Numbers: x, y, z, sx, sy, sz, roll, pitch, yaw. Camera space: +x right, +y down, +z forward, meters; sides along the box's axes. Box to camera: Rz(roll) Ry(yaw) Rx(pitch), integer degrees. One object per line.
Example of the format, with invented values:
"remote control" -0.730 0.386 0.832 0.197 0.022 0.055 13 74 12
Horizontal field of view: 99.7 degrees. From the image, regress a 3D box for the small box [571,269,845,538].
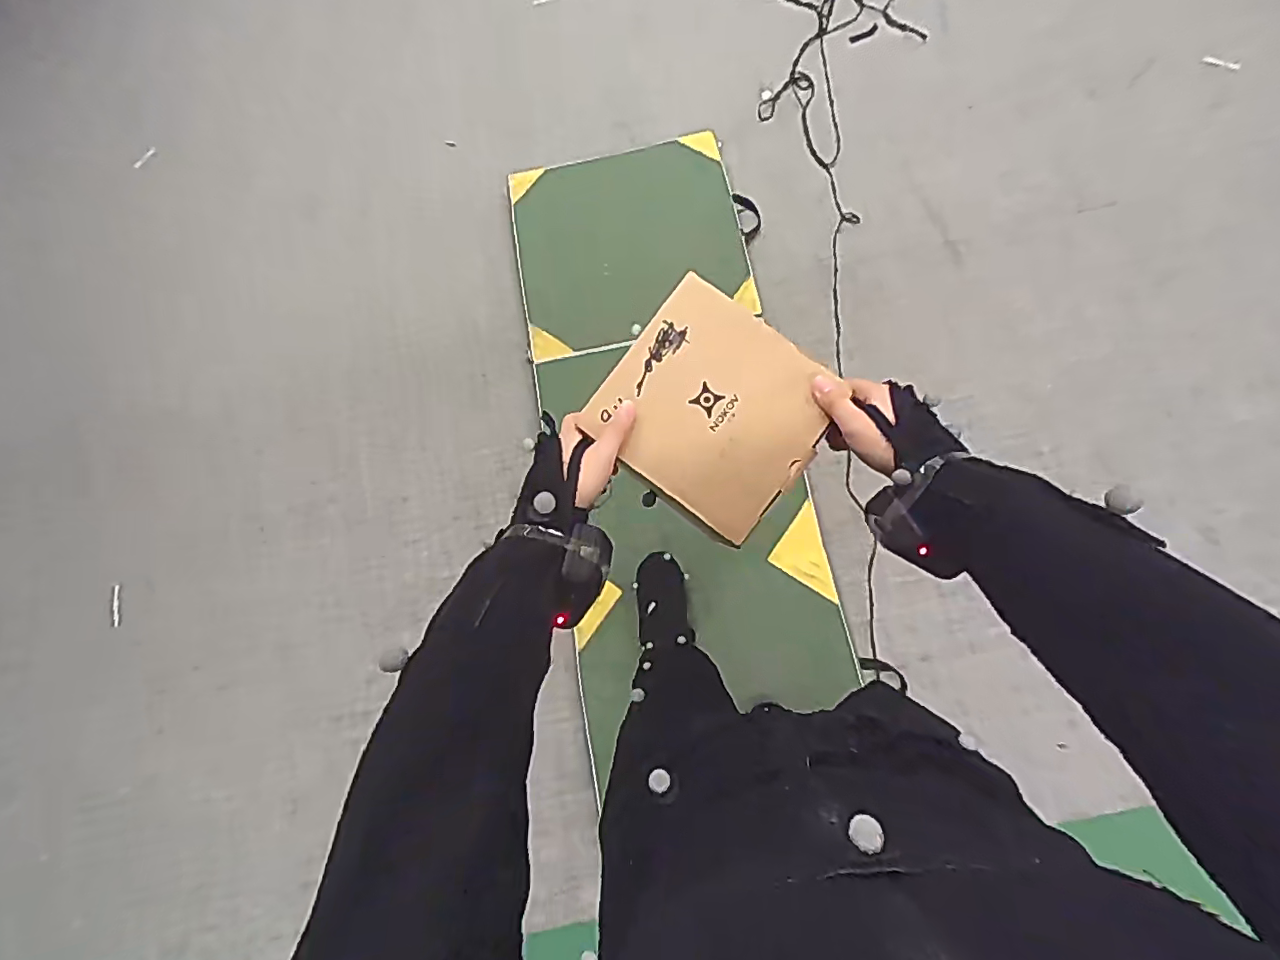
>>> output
"small box" 0.058 -0.064 0.535 0.179 0.176 0.168 38 88 2
